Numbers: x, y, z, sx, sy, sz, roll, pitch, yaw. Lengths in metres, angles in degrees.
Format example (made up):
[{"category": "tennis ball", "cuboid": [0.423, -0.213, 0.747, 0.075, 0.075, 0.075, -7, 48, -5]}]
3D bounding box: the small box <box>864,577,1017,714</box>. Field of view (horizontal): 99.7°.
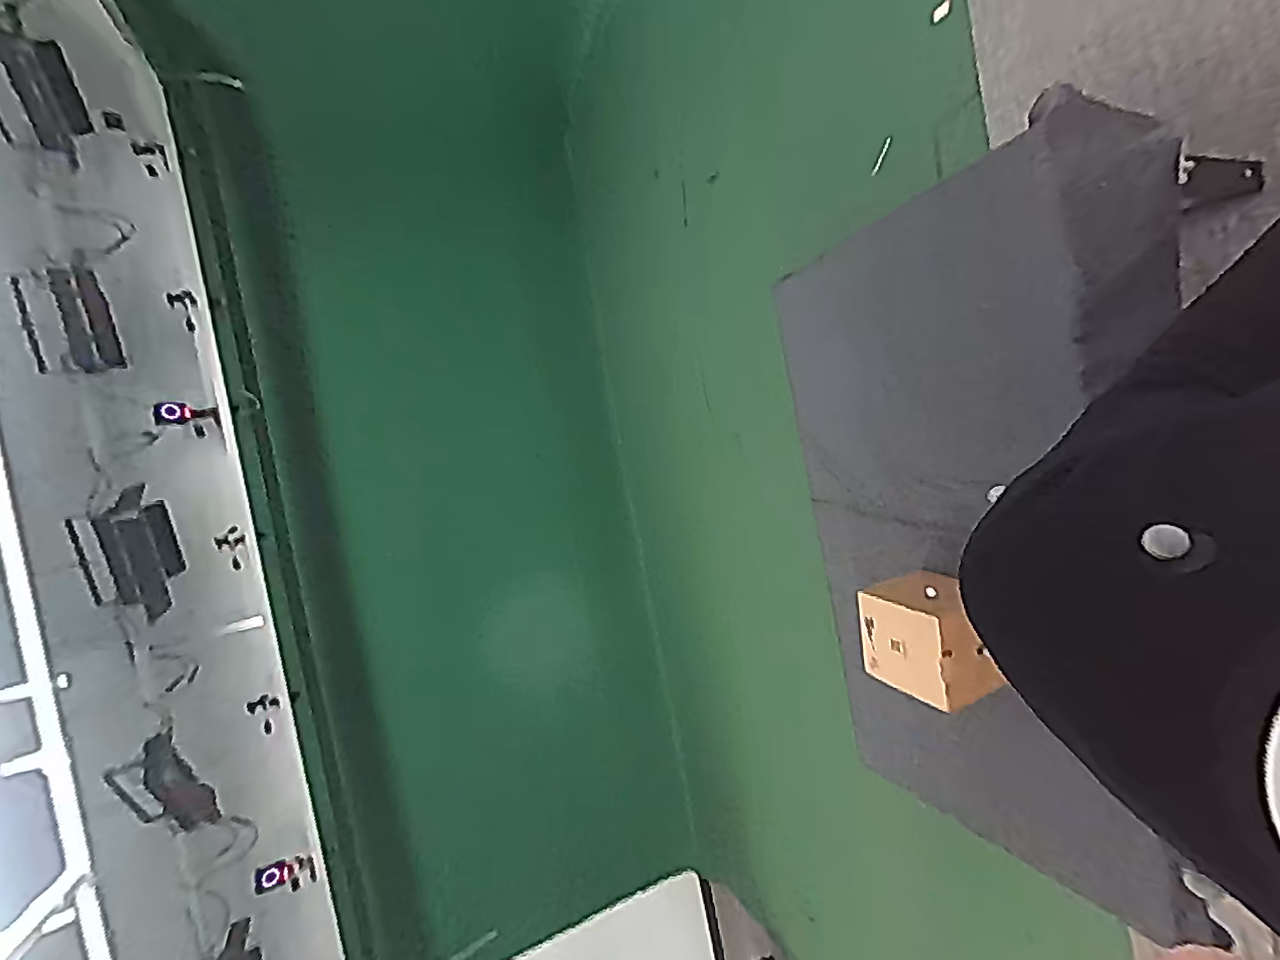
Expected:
[{"category": "small box", "cuboid": [0.541, 0.283, 0.970, 0.179, 0.176, 0.168, -179, 77, -68]}]
